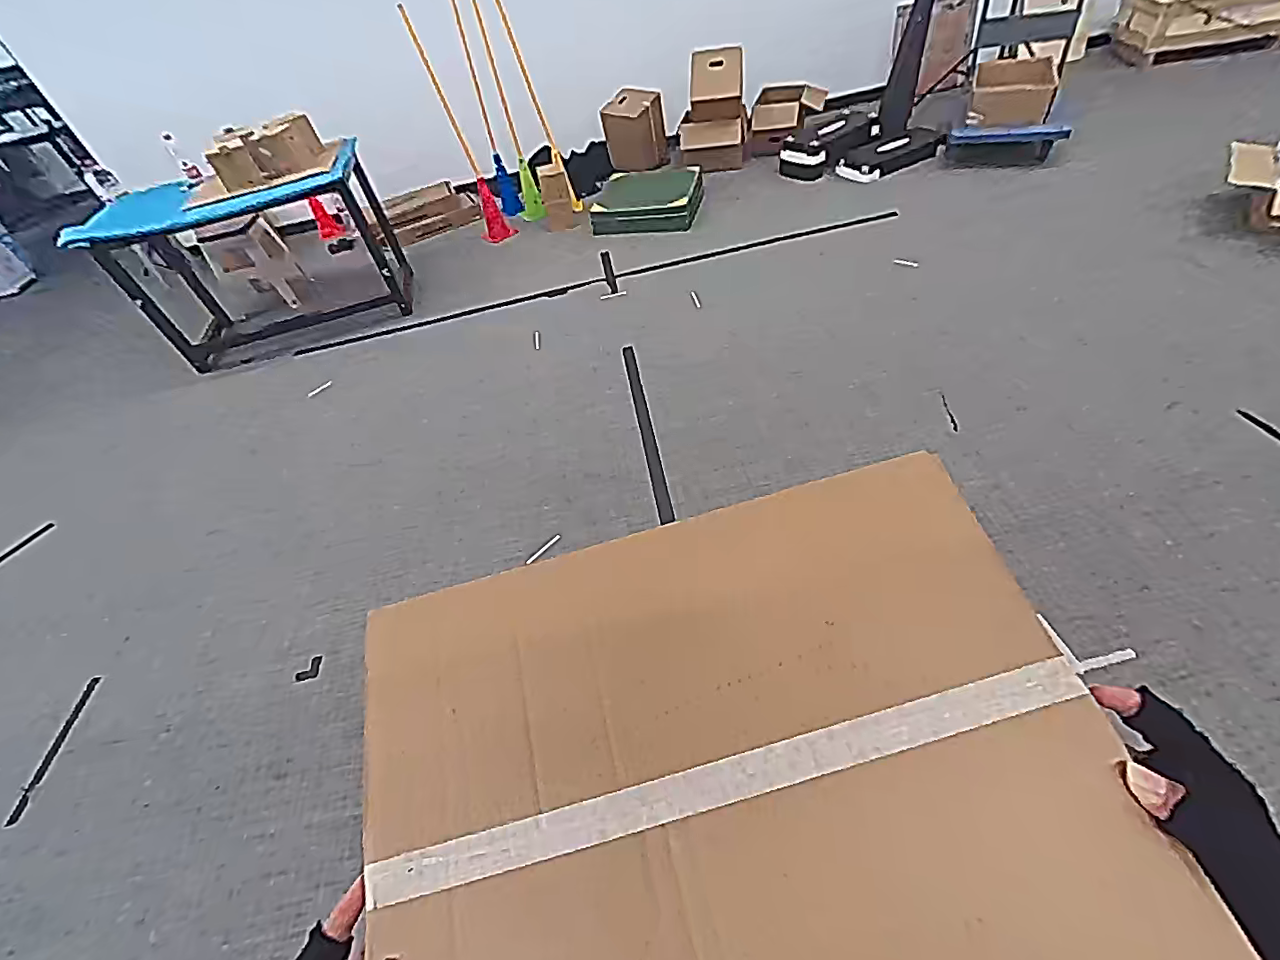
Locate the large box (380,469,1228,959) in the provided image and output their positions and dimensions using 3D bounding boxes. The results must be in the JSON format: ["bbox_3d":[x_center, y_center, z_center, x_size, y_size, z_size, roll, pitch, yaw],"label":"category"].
[{"bbox_3d":[0.069,0.244,0.434,0.408,0.320,0.320,-16,60,0],"label":"large box"}]
